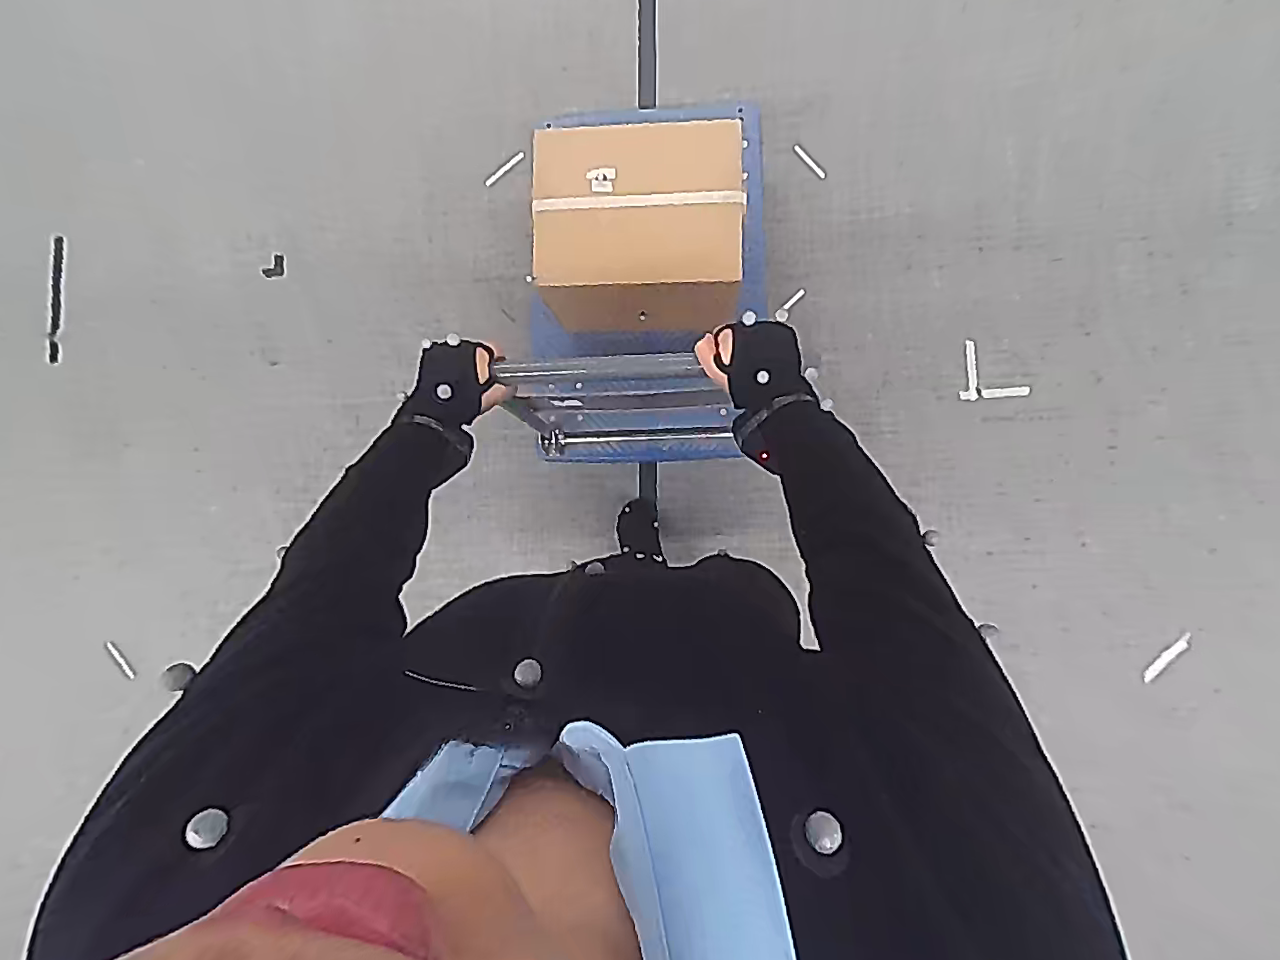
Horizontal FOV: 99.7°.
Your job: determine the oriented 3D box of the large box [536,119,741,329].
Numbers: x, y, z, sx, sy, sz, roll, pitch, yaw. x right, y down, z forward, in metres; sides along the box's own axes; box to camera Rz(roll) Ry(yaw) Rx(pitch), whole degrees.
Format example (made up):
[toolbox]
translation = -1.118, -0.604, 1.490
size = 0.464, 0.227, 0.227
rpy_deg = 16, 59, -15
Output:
[large box]
translation = 0.009, -0.534, 1.197
size = 0.408, 0.320, 0.320
rpy_deg = 0, 87, 6
